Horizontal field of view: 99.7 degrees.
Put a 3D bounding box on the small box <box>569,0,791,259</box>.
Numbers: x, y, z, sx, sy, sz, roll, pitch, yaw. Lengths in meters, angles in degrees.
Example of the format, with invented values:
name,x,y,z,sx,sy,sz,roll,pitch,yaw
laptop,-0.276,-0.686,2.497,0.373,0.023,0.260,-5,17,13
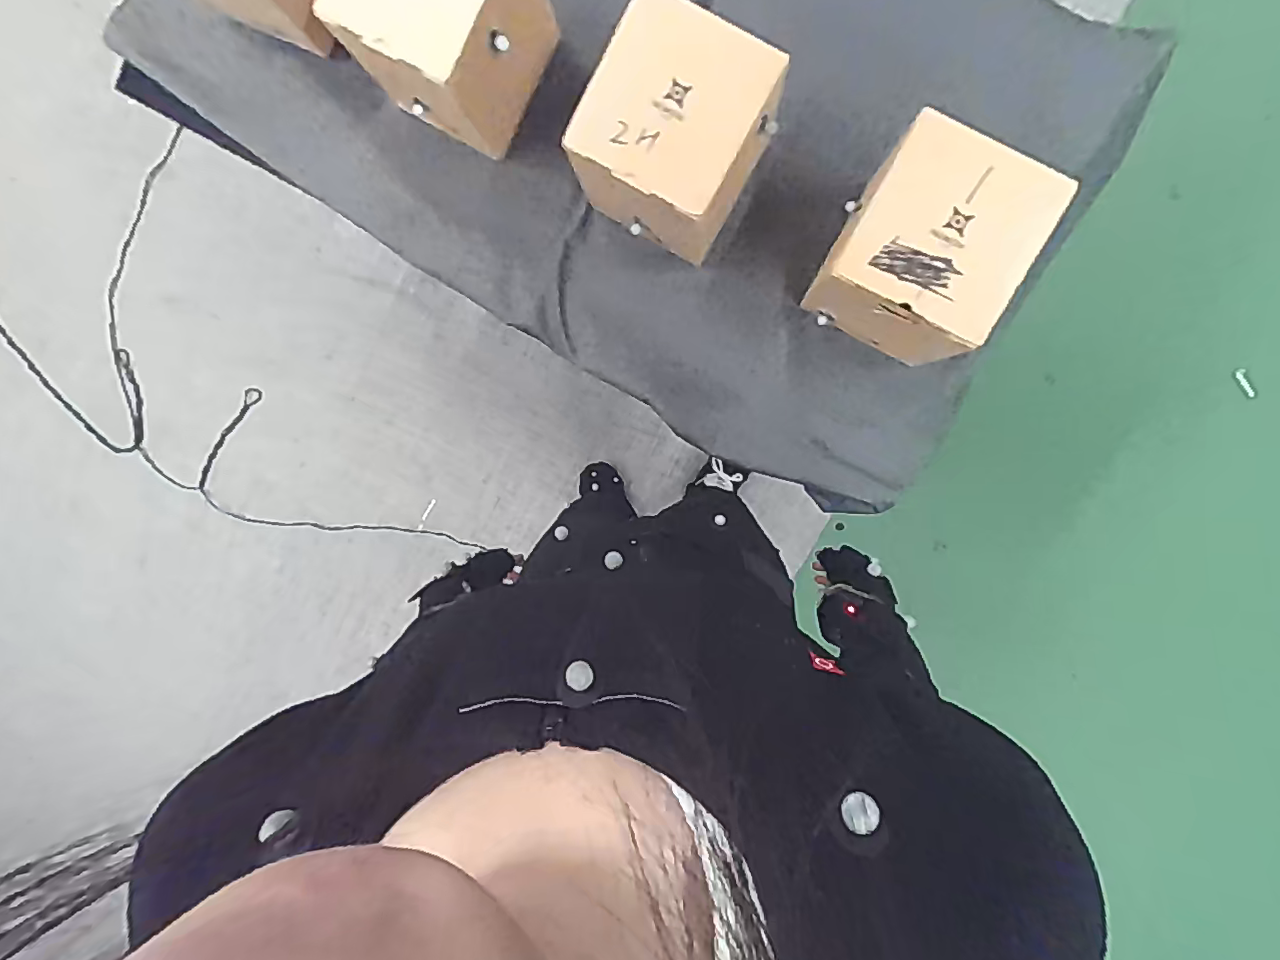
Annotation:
name,x,y,z,sx,sy,sz,roll,pitch,yaw
small box,0.043,-0.388,0.617,0.168,0.176,0.179,30,98,1

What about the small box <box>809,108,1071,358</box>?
name,x,y,z,sx,sy,sz,roll,pitch,yaw
small box,0.310,-0.255,0.609,0.168,0.176,0.179,29,98,1

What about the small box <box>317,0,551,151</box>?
name,x,y,z,sx,sy,sz,roll,pitch,yaw
small box,-0.218,-0.533,0.625,0.168,0.176,0.179,30,99,1
